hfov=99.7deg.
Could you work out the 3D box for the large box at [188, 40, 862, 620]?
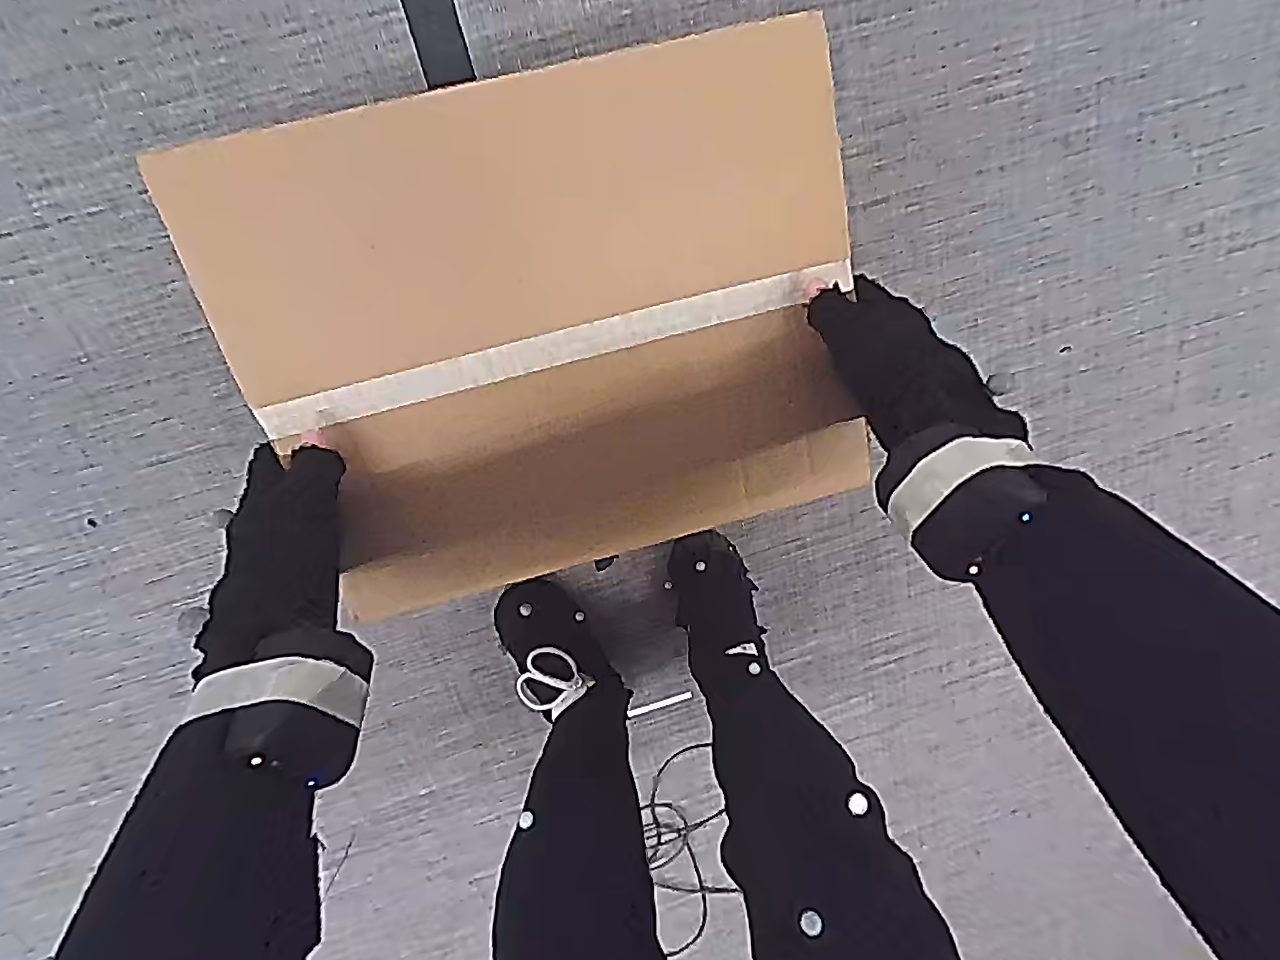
[{"bbox_3d":[-0.068,-0.126,0.518,0.408,0.320,0.320,-15,109,-3],"label":"large box"}]
